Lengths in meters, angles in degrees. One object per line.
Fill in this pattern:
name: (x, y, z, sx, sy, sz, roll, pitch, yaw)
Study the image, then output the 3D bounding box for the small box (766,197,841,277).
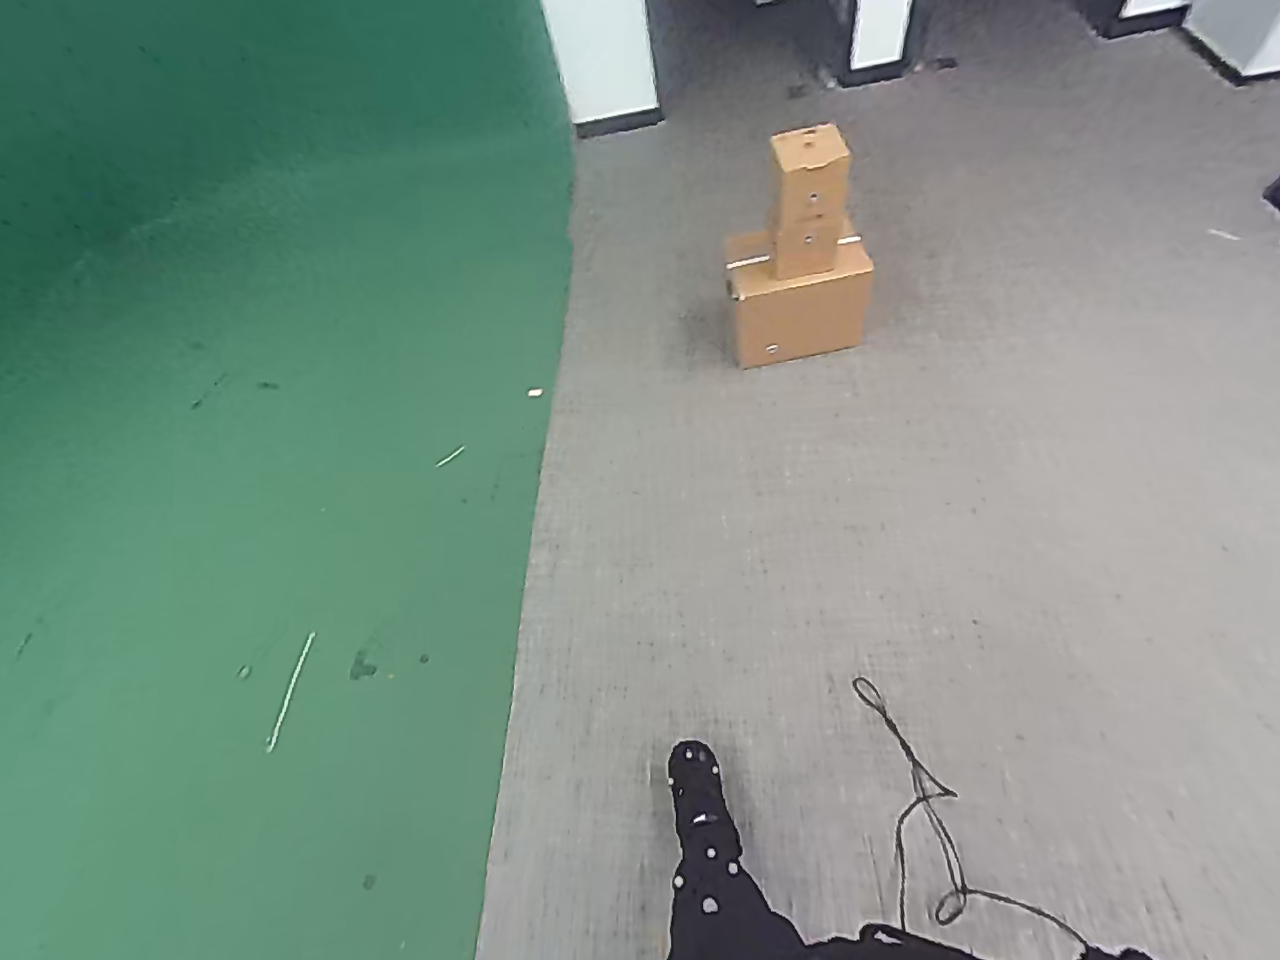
small box: (0.470, -0.720, 1.583, 0.179, 0.176, 0.168, -8, 58, 5)

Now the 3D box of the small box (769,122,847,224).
small box: (0.443, -0.811, 1.450, 0.168, 0.176, 0.179, -8, 59, 7)
